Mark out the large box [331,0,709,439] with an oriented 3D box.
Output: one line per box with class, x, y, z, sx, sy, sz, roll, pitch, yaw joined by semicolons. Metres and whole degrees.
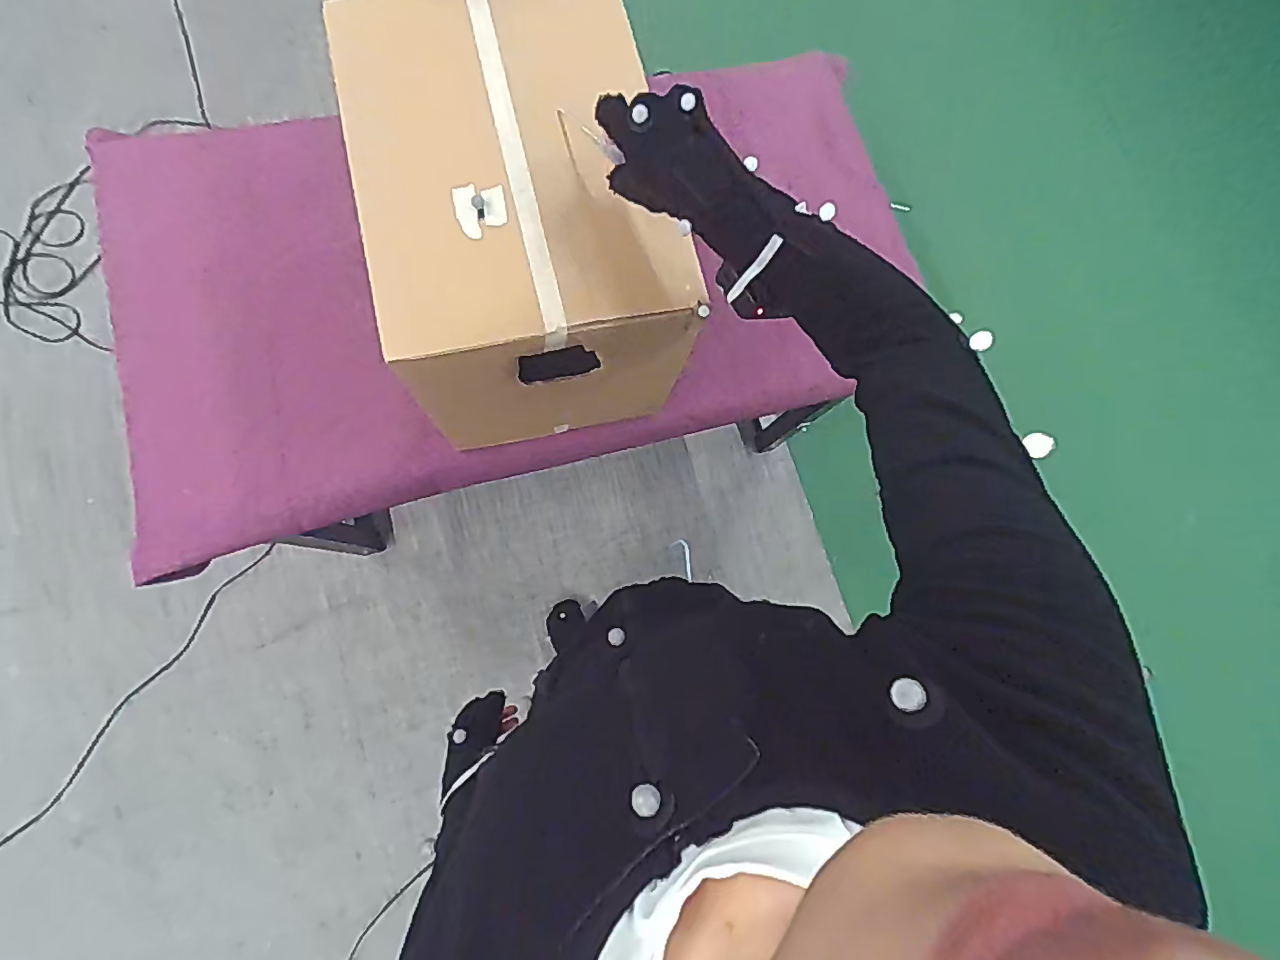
large box;-0.146;-0.306;0.698;0.320;0.320;0.408;-12;81;-10
